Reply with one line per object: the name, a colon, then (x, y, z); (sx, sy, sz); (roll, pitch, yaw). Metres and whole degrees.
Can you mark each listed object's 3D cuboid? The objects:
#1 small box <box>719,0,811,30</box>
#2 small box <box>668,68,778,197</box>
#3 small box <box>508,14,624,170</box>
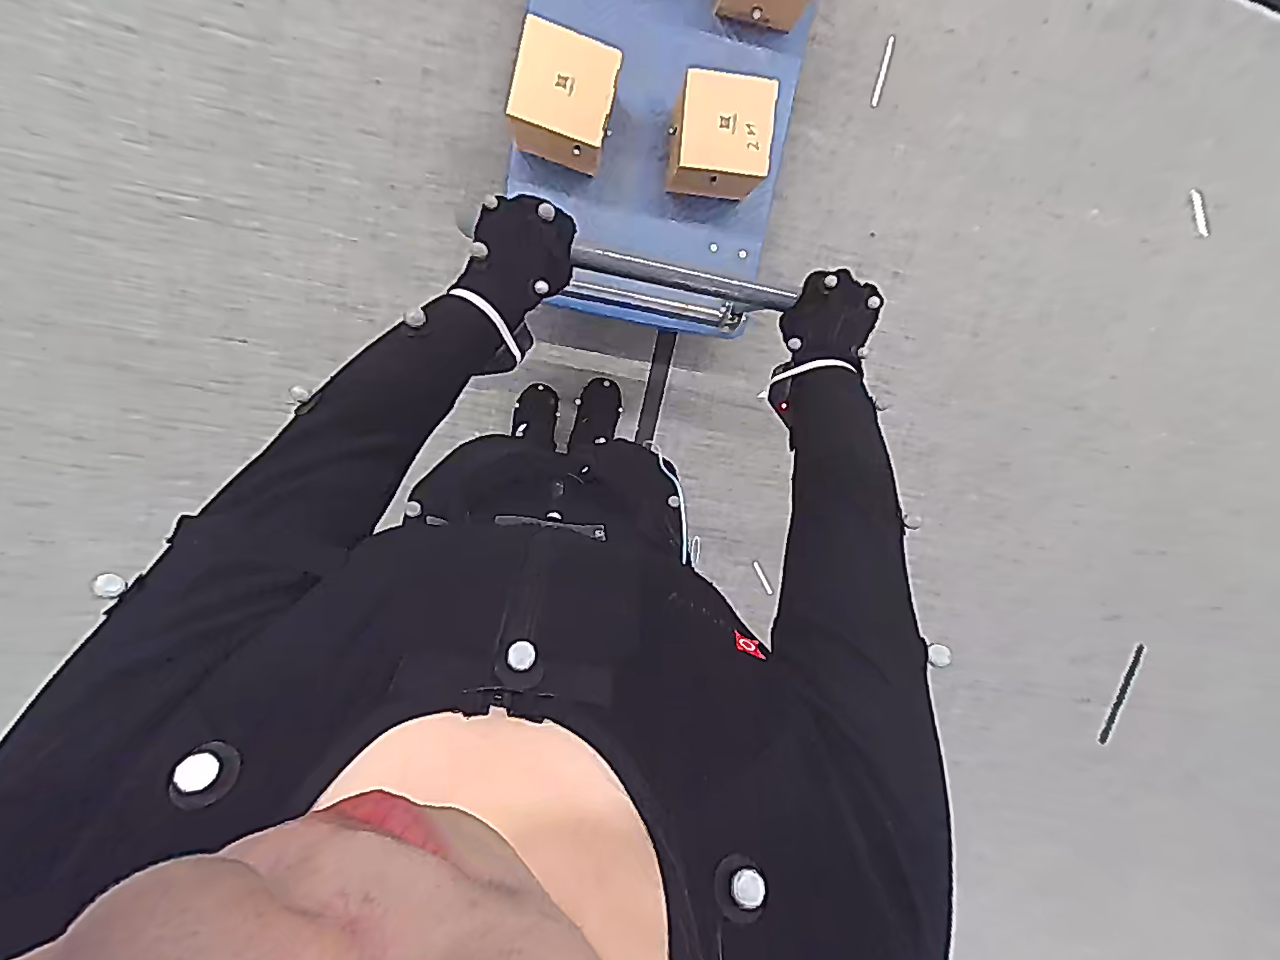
small box: (0.257, -1.011, 1.021); (0.168, 0.176, 0.179); (7, 104, -8)
small box: (0.157, -0.688, 1.090); (0.179, 0.176, 0.168); (3, 104, -7)
small box: (-0.144, -0.732, 1.045); (0.179, 0.176, 0.168); (14, 101, -11)
